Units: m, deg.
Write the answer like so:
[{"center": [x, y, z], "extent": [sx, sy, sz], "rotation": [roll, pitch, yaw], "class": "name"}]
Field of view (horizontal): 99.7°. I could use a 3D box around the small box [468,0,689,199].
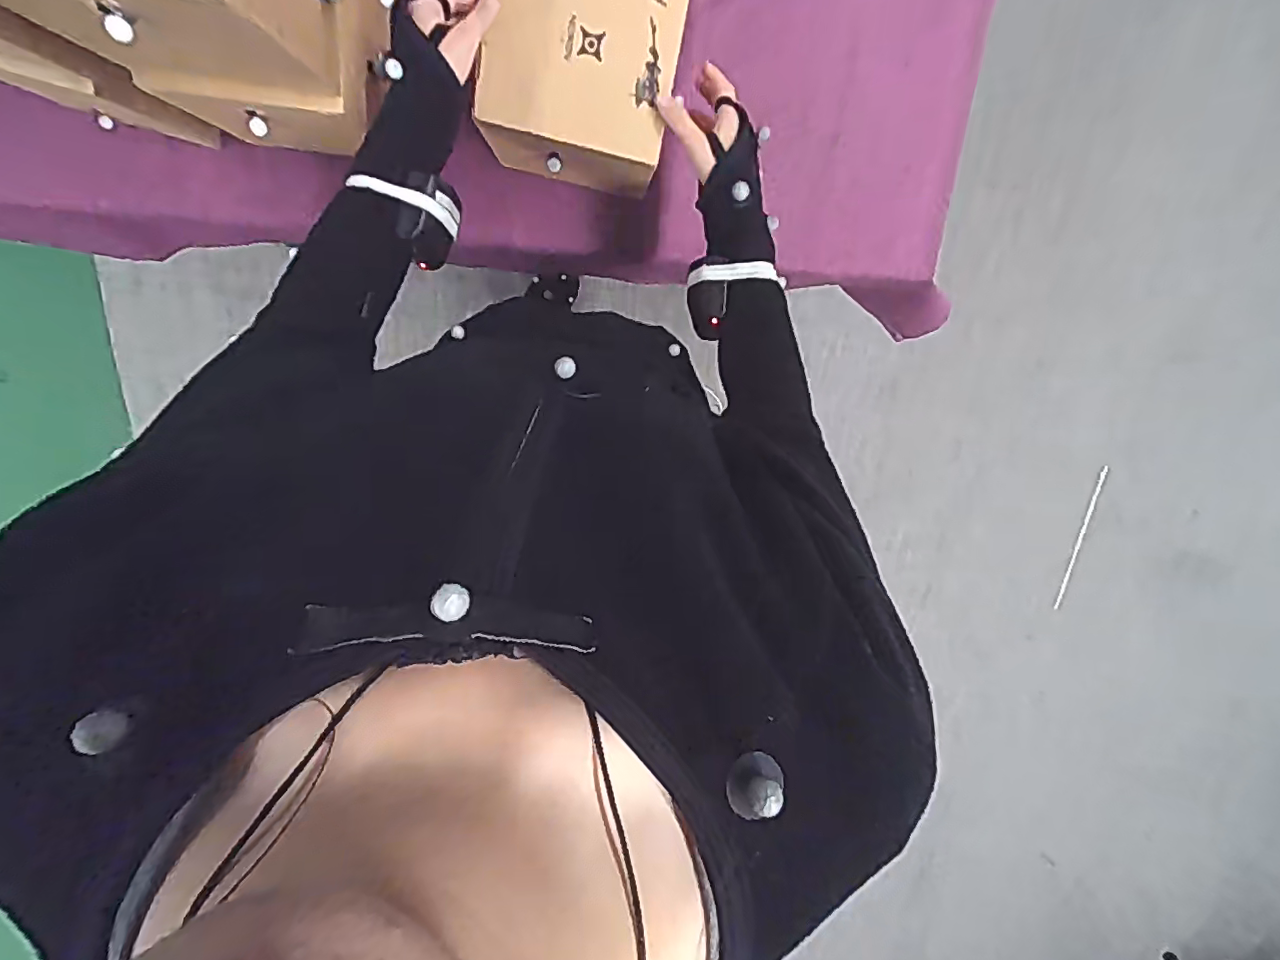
[{"center": [-0.059, -0.406, 0.549], "extent": [0.179, 0.176, 0.168], "rotation": [11, 105, -8], "class": "small box"}]
